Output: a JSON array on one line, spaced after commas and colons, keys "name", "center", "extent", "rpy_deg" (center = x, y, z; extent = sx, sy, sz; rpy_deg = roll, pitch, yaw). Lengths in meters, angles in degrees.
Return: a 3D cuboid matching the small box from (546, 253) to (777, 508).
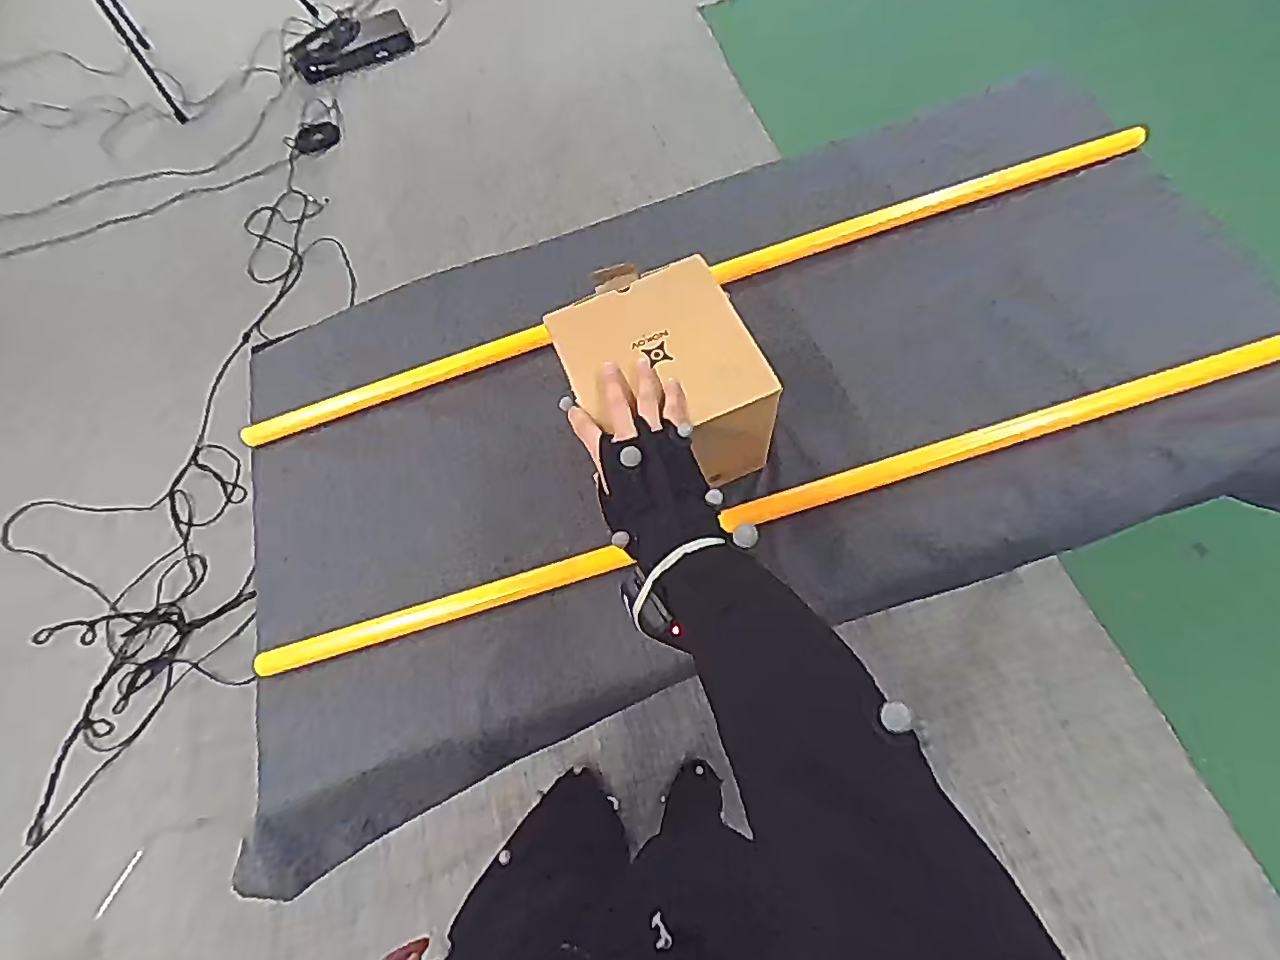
[{"name": "small box", "center": [0.025, -0.087, 0.561], "extent": [0.168, 0.176, 0.179], "rpy_deg": [-23, 65, -2]}]
